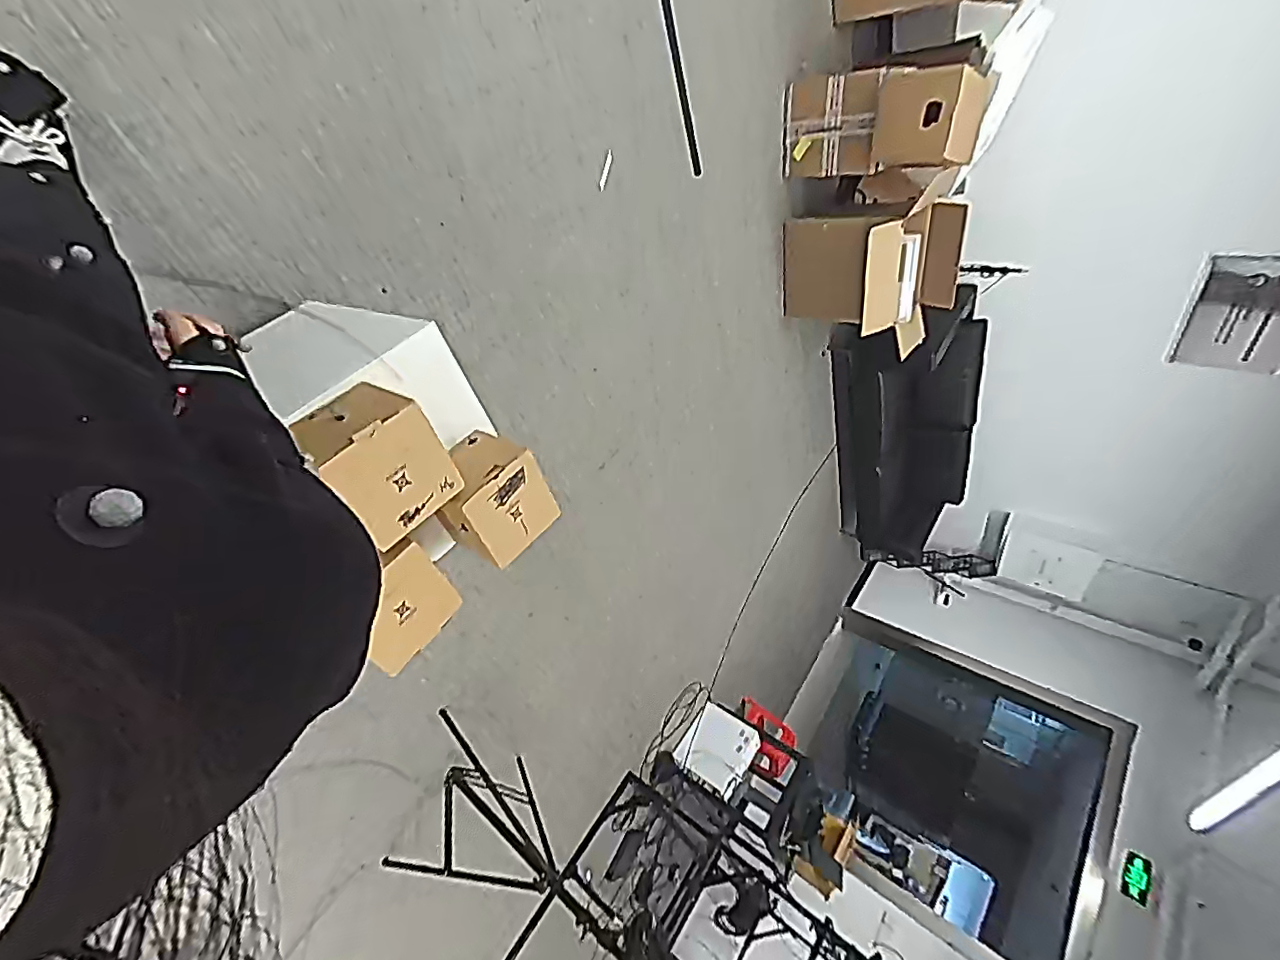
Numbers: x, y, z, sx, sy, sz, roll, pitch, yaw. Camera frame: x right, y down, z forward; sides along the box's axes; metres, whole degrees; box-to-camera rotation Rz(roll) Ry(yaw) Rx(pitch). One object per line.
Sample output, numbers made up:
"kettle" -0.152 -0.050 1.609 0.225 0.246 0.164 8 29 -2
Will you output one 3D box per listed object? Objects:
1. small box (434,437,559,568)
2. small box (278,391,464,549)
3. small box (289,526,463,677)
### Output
"small box" -0.293 0.034 1.040 0.168 0.176 0.179 -46 137 -29
"small box" -0.421 -0.026 0.851 0.168 0.176 0.179 -45 137 -30
"small box" -0.445 0.192 0.920 0.168 0.176 0.179 -49 137 -29
